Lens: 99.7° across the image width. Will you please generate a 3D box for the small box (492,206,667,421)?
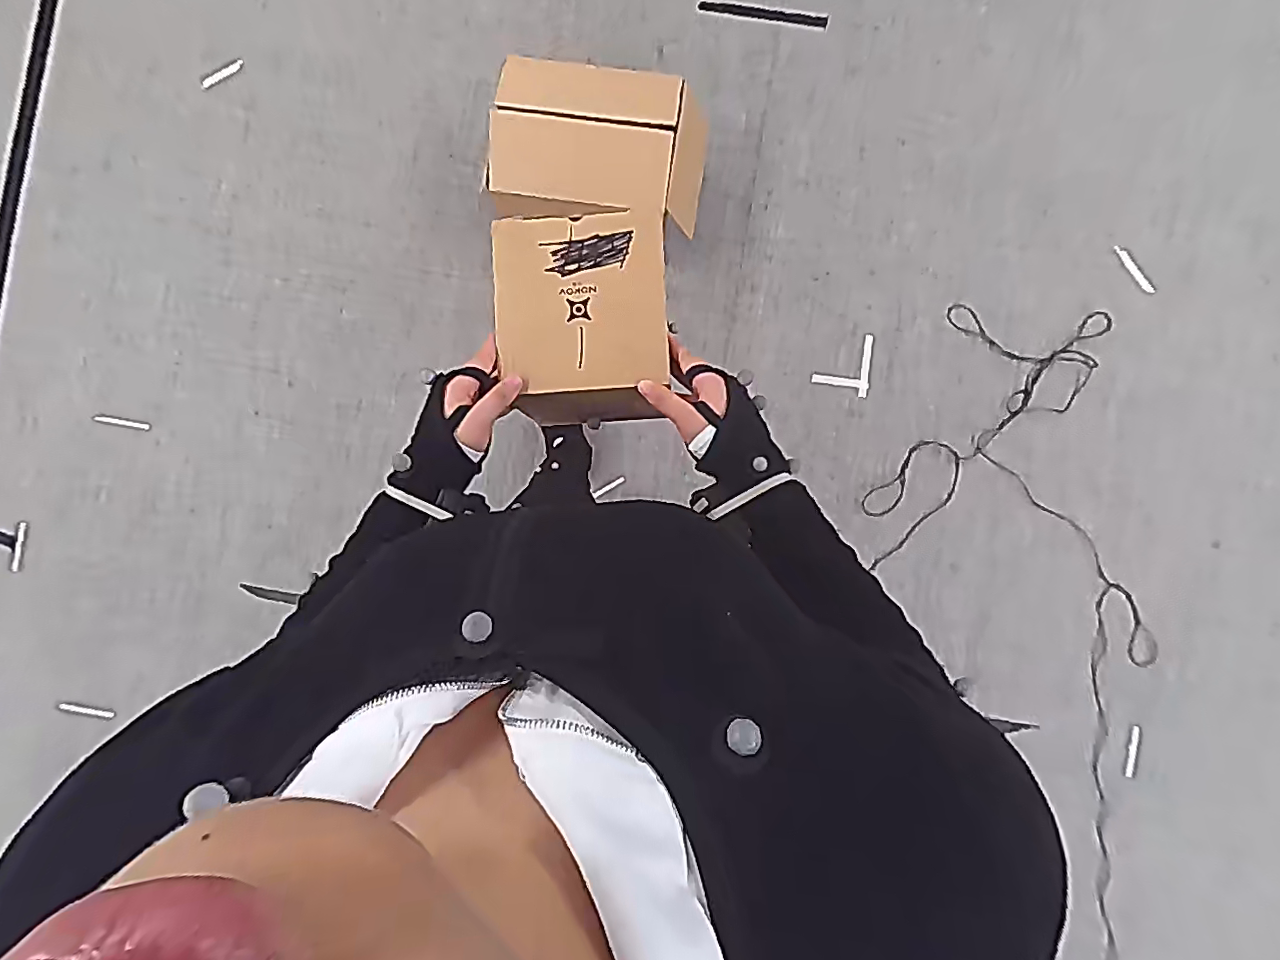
[{"bbox_3d":[-0.058,-0.170,0.599,0.168,0.176,0.179,-3,86,2],"label":"small box"}]
